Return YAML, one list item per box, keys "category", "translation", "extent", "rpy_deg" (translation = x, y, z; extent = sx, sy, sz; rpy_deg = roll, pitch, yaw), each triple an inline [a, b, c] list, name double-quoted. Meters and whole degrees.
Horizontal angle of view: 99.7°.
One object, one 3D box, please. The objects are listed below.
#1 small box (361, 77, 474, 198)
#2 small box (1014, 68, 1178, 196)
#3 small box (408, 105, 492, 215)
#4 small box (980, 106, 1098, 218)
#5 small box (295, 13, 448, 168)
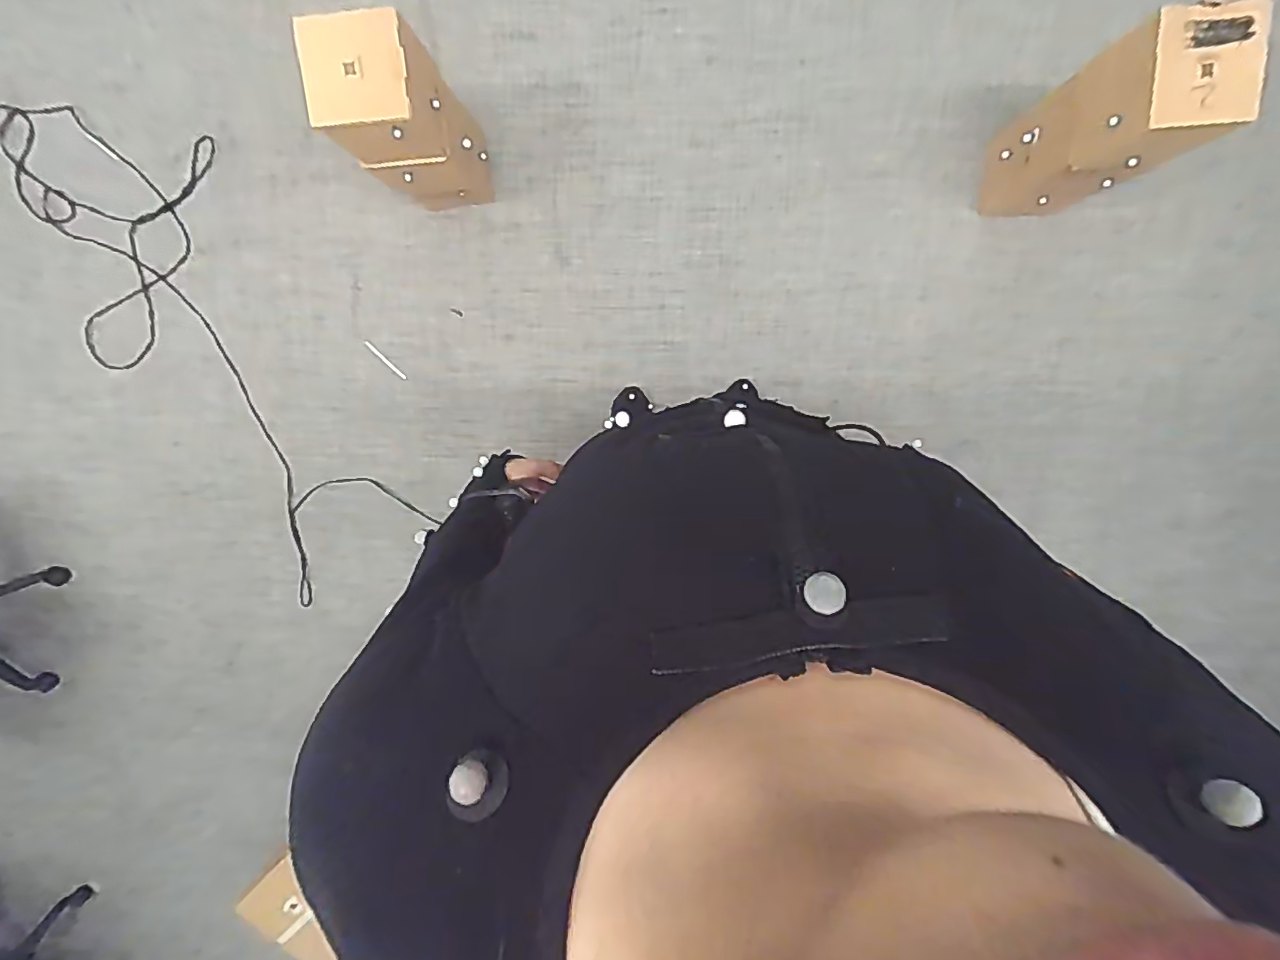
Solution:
- category: "small box"
  translation: [-0.469, -0.710, 1.136]
  extent: [0.179, 0.176, 0.168]
  rpy_deg: [-4, 101, 2]
- category: "small box"
  translation: [0.898, -0.686, 1.081]
  extent: [0.179, 0.176, 0.168]
  rpy_deg: [2, 99, 3]
- category: "small box"
  translation: [-0.466, -0.756, 1.293]
  extent: [0.179, 0.176, 0.168]
  rpy_deg: [-7, 99, 5]
- category: "small box"
  translation: [0.915, -0.720, 1.239]
  extent: [0.168, 0.176, 0.179]
  rpy_deg: [1, 100, 3]
- category: "small box"
  translation: [-0.472, -0.687, 0.975]
  extent: [0.179, 0.176, 0.168]
  rpy_deg: [-5, 100, 2]
